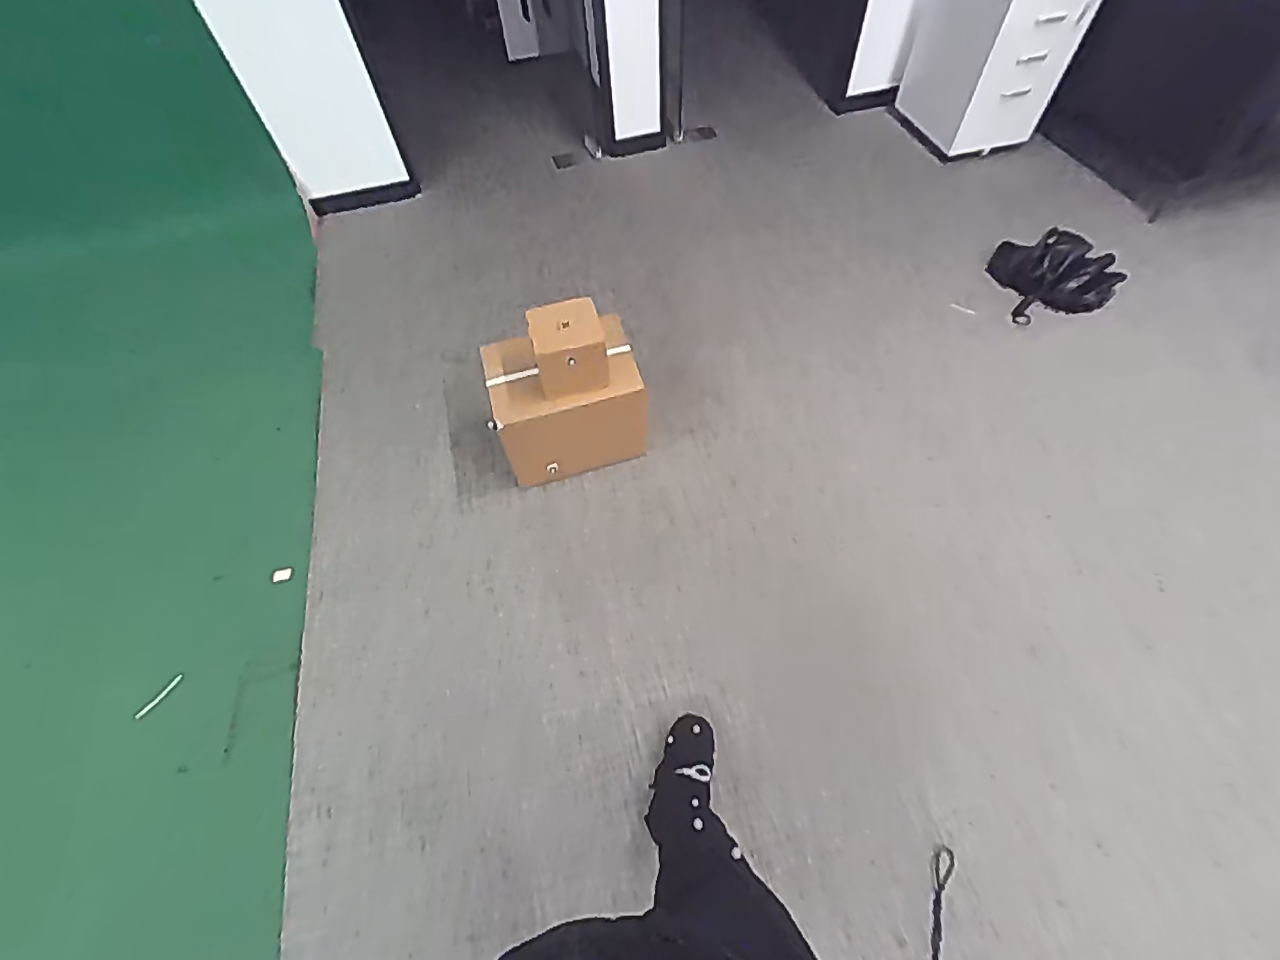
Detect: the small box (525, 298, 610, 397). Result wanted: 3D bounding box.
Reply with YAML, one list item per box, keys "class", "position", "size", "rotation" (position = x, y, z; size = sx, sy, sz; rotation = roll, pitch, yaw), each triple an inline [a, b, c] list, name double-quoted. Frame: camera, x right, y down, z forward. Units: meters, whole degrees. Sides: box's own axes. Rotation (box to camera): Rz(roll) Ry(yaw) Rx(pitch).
- class: "small box"
  position: [-0.184, -0.336, 1.398]
  size: [0.179, 0.176, 0.168]
  rotation: [-14, 60, -7]
